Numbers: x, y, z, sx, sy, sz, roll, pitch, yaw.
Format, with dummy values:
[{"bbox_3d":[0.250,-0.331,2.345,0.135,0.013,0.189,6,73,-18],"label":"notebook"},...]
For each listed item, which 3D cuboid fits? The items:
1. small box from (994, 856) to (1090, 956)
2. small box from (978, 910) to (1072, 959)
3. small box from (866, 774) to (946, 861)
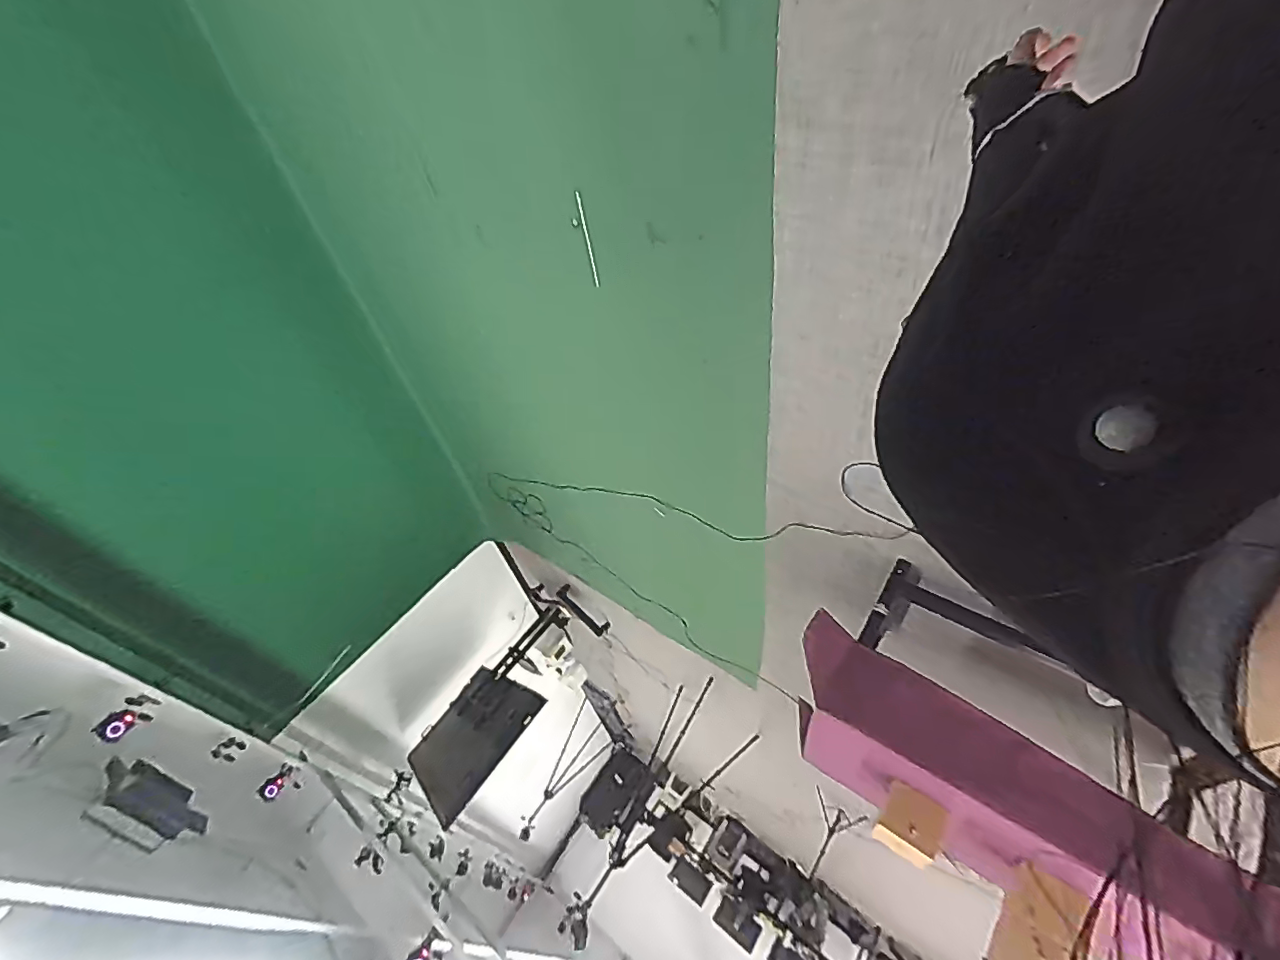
[{"bbox_3d":[1.206,1.276,1.623,0.179,0.176,0.168,25,147,31],"label":"small box"},{"bbox_3d":[1.102,1.384,1.552,0.168,0.176,0.179,24,147,31],"label":"small box"},{"bbox_3d":[0.893,1.130,1.812,0.179,0.176,0.168,27,147,28],"label":"small box"}]
